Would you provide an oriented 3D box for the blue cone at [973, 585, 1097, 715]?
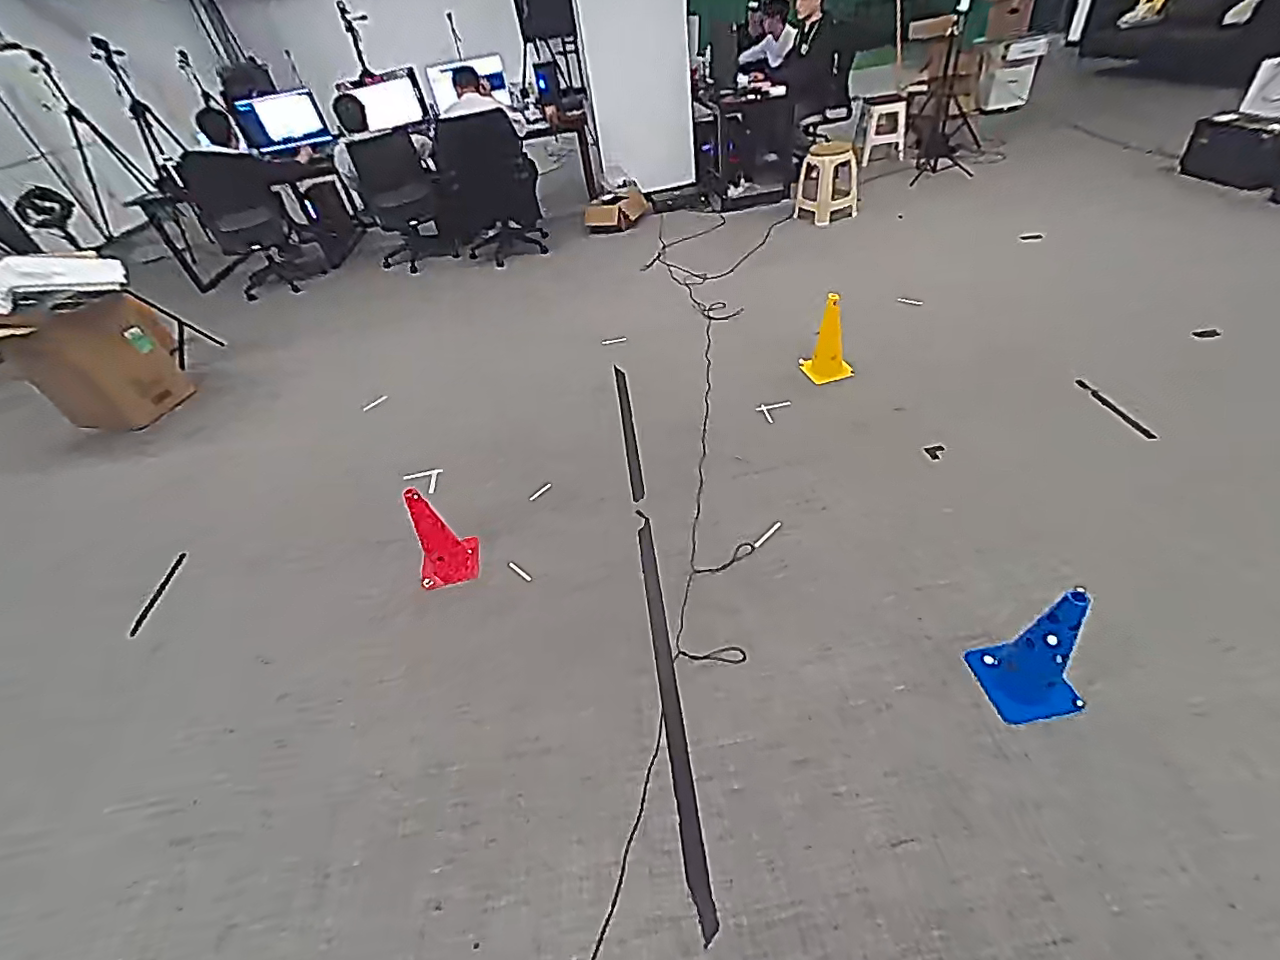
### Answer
[{"bbox_3d":[0.947,0.372,1.251,0.192,0.380,0.193,-9,41,0],"label":"blue cone"}]

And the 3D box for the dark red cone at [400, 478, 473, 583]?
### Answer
[{"bbox_3d":[-0.709,0.151,1.805,0.201,0.394,0.202,-15,41,-6],"label":"dark red cone"}]
